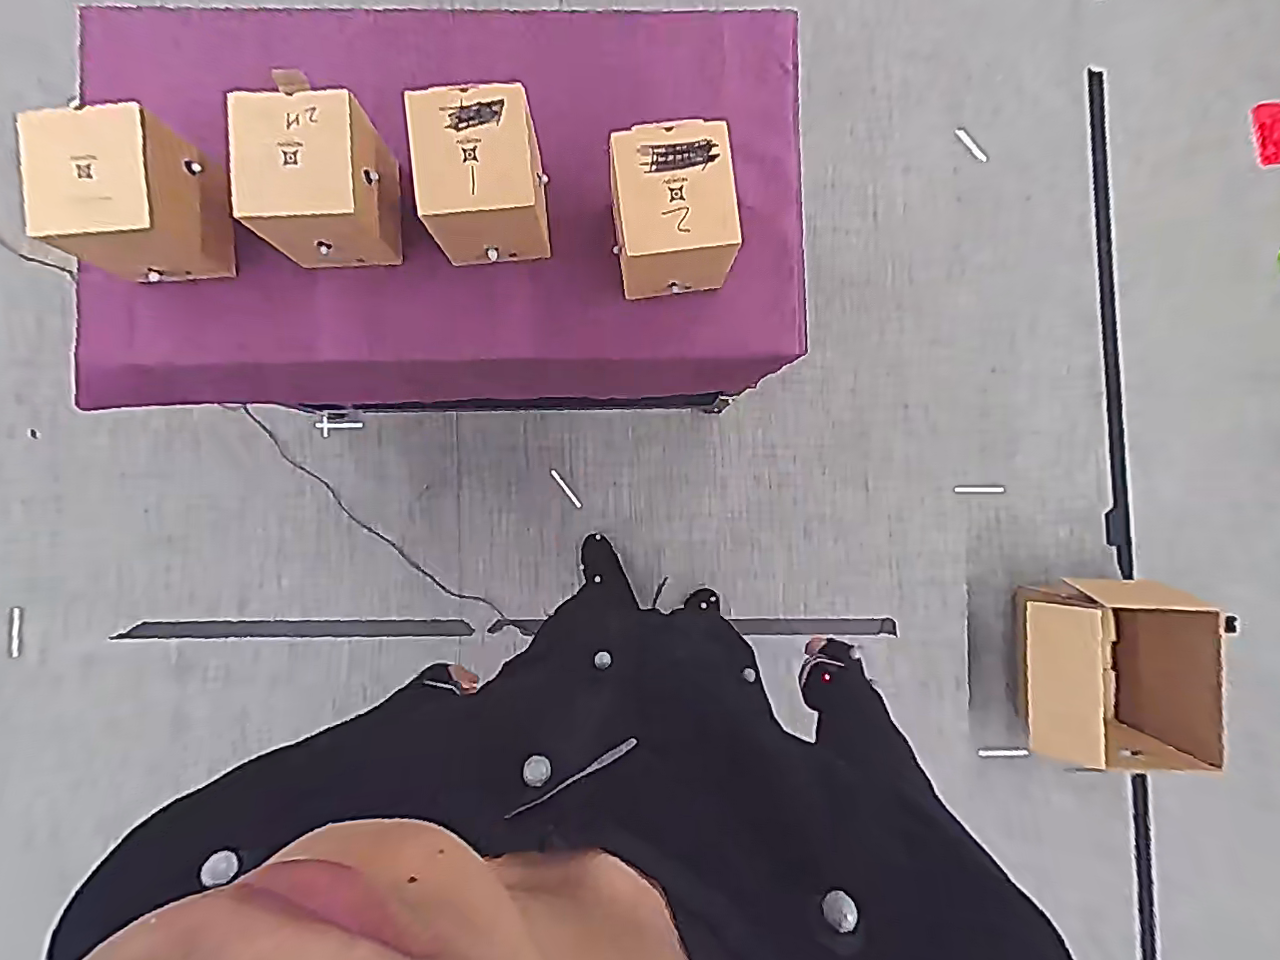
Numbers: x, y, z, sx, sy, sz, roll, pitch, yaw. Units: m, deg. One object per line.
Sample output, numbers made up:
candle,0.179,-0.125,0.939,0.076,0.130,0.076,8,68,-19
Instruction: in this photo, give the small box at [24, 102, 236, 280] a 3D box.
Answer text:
small box,-0.751,-0.424,0.814,0.168,0.176,0.179,-5,88,-2

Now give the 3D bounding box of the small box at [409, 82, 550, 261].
small box,-0.236,-0.463,0.833,0.168,0.176,0.179,-6,89,-2

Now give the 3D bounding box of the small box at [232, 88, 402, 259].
small box,-0.478,-0.451,0.824,0.168,0.176,0.179,-3,88,-2
